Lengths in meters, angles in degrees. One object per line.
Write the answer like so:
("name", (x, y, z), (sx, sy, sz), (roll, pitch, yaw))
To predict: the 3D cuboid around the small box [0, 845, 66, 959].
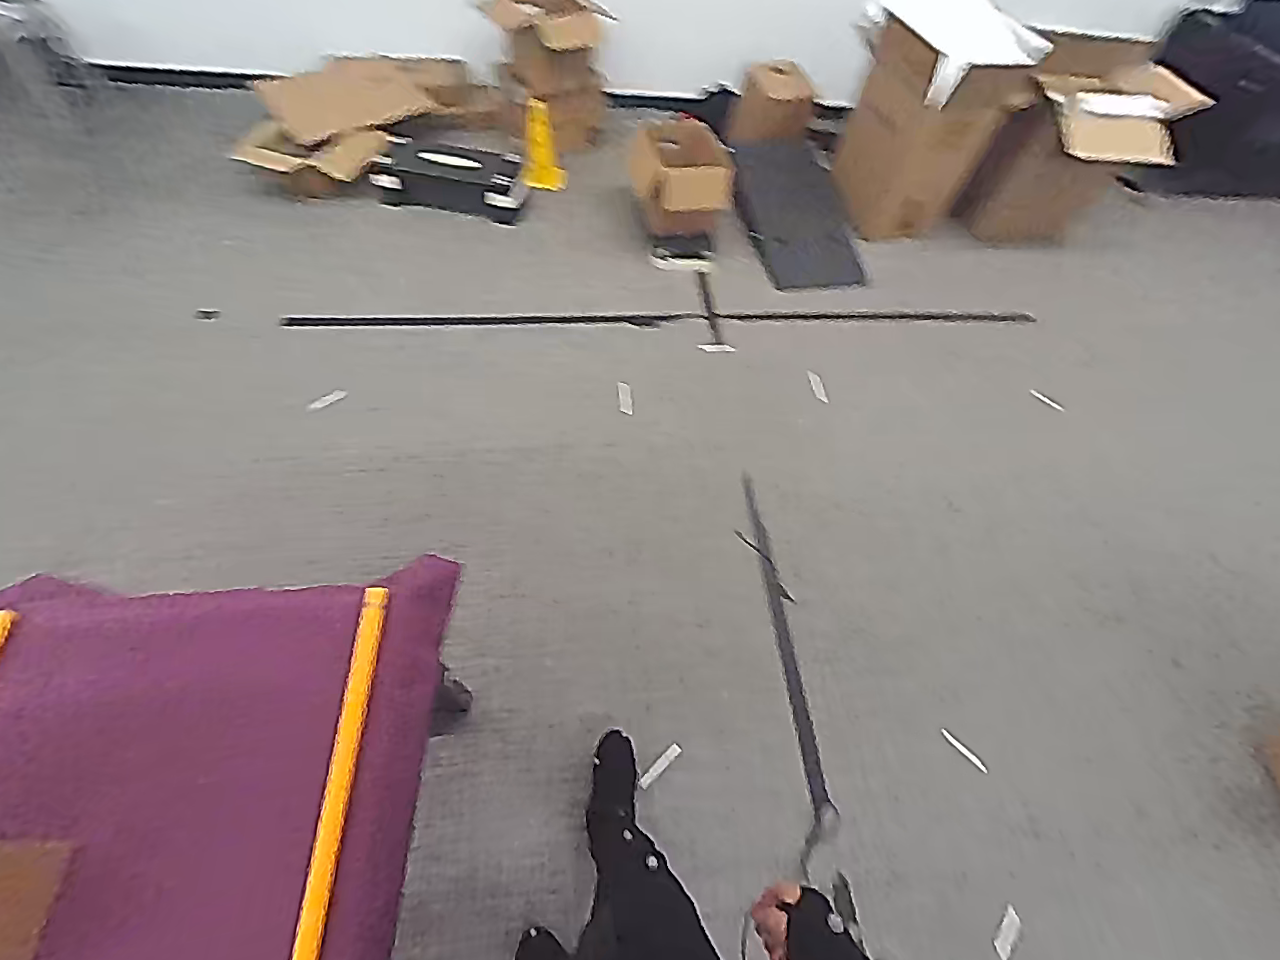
("small box", (-0.755, 0.481, 0.540), (0.168, 0.176, 0.179), (-1, 57, -8))
